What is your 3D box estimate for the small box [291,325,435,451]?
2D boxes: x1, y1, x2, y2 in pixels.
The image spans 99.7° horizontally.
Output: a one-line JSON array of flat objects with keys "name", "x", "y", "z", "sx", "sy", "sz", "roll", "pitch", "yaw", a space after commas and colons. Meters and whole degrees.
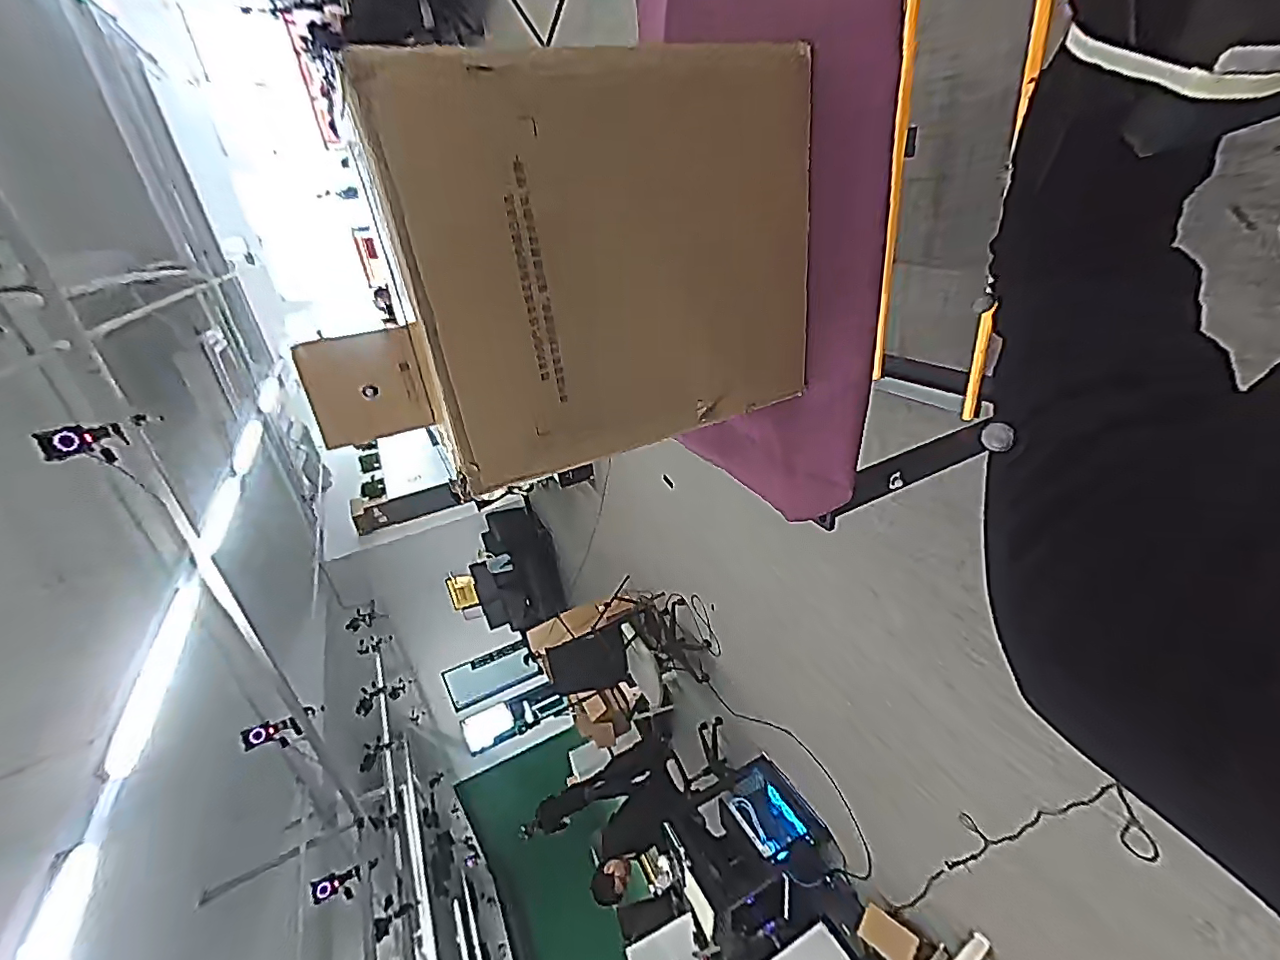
[{"name": "small box", "x": -0.456, "y": -0.163, "z": 0.911, "sx": 0.179, "sy": 0.176, "sz": 0.168, "roll": 30, "pitch": 134, "yaw": 59}]
